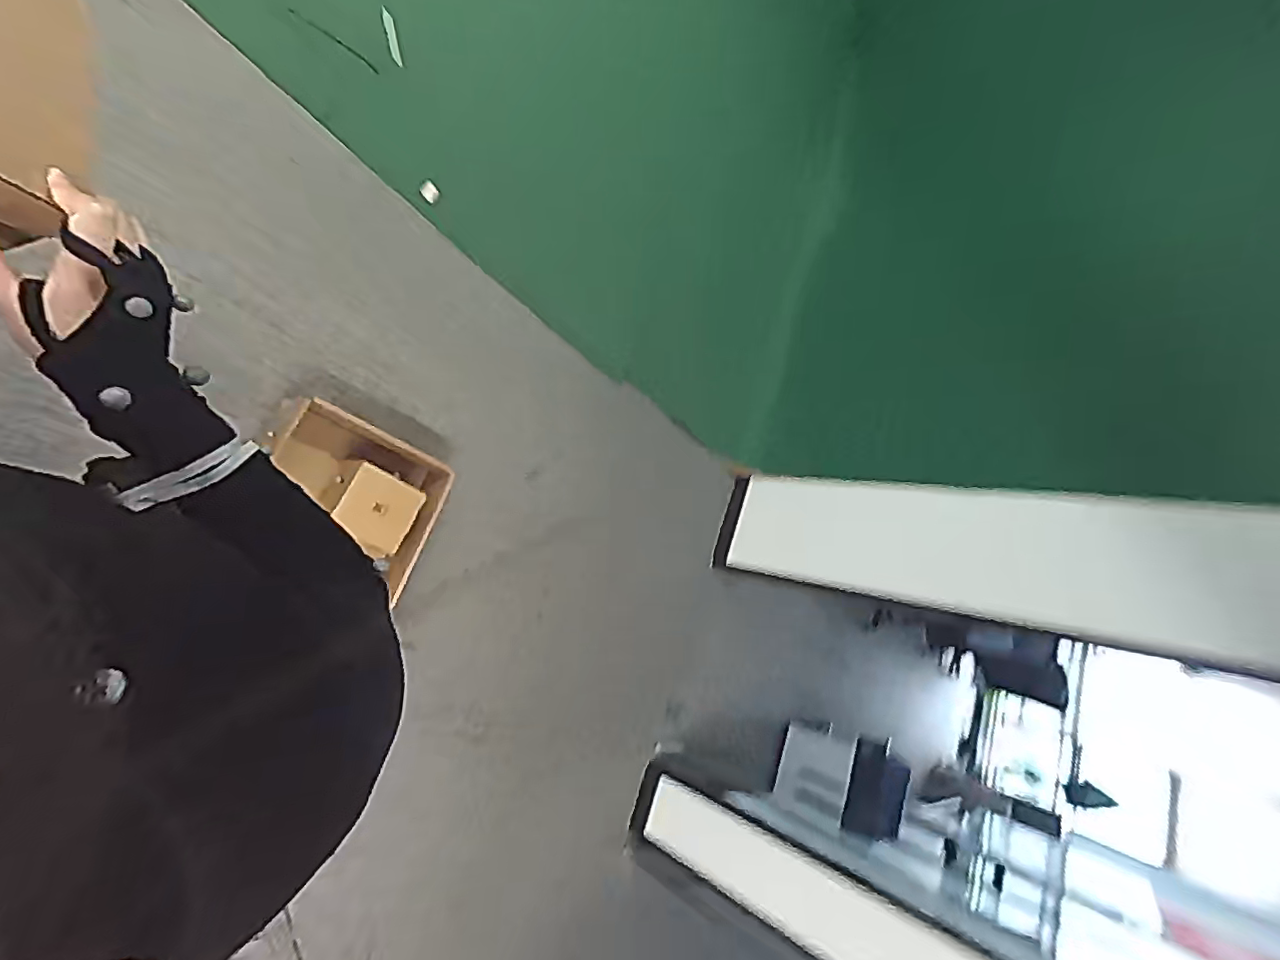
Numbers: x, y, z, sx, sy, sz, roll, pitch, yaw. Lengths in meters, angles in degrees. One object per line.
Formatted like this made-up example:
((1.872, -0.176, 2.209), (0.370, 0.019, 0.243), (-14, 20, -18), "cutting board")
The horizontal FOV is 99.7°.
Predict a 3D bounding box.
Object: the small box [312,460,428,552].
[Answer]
((-0.674, 0.062, 1.345), (0.179, 0.176, 0.168), (41, 66, -41), "small box")
